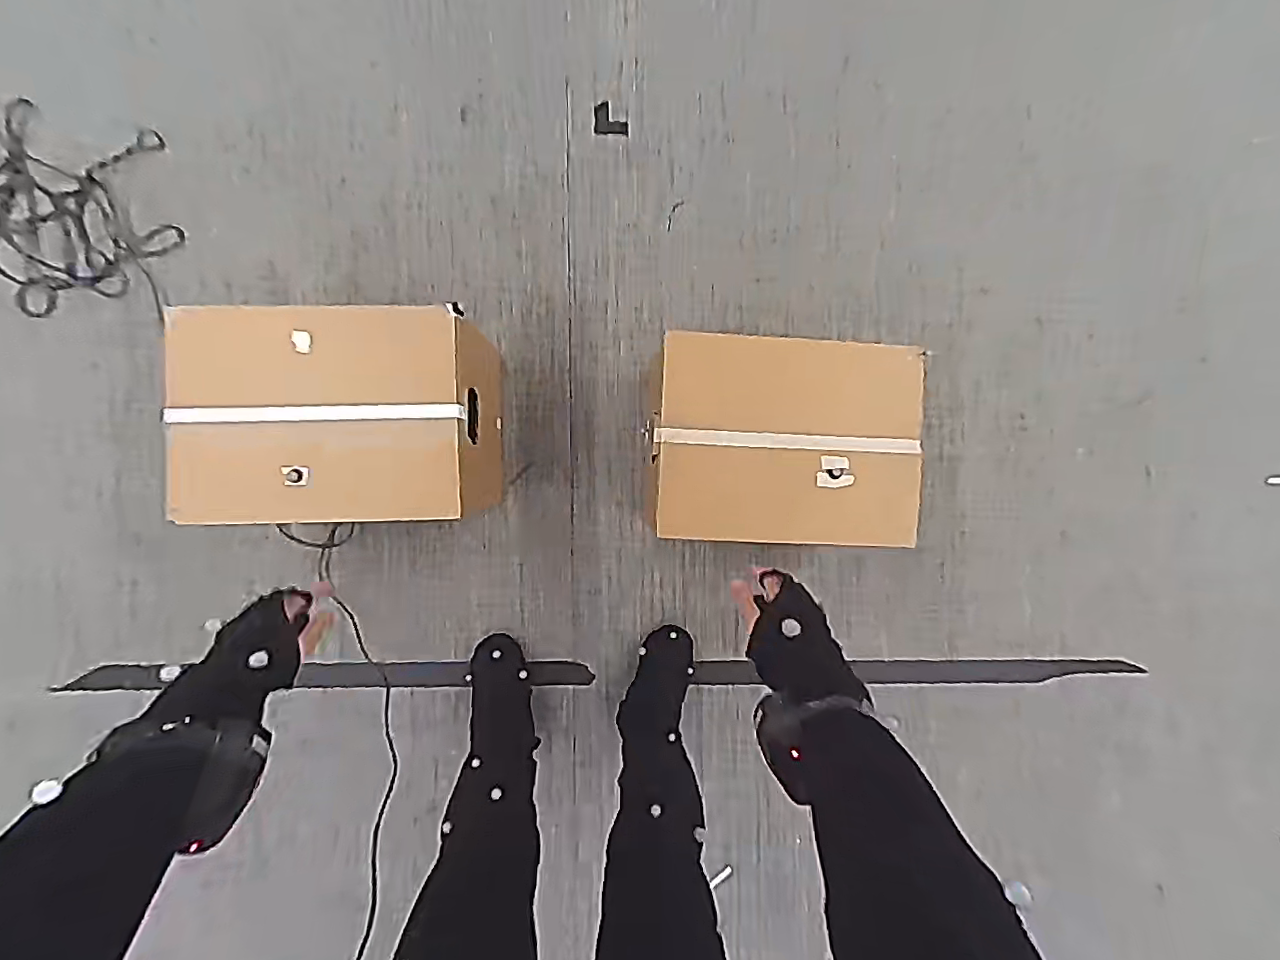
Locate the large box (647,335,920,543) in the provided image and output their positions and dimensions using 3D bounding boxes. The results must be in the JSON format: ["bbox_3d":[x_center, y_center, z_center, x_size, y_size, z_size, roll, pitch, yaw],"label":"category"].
[{"bbox_3d":[0.224,-0.059,0.978,0.408,0.320,0.320,3,90,-4],"label":"large box"}]
